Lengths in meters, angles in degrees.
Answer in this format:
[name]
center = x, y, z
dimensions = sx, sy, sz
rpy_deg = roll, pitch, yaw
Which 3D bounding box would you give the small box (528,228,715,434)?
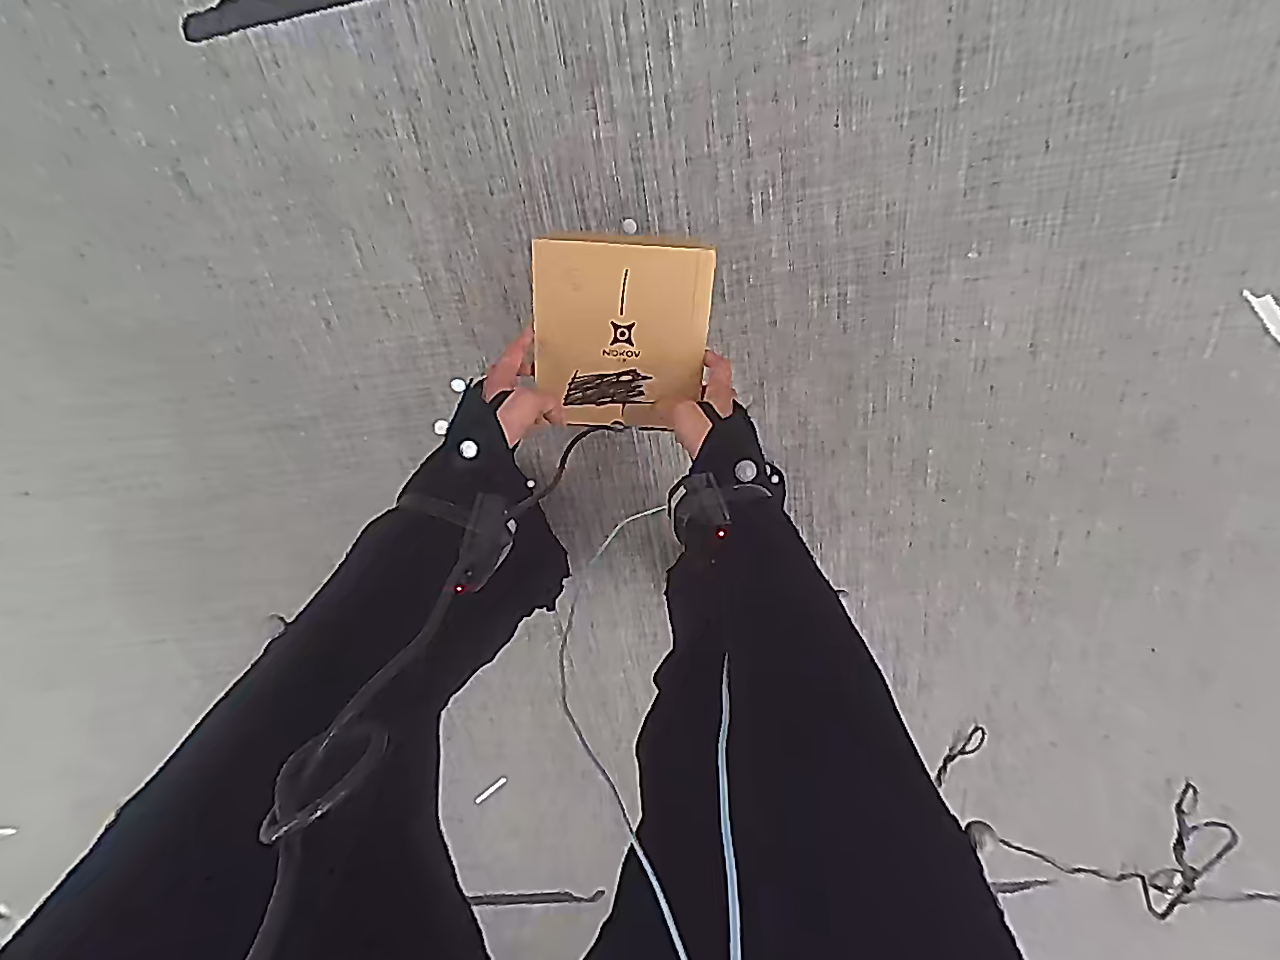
[small box]
center = -0.025, -0.164, 0.575
dimensions = 0.168, 0.176, 0.179
rpy_deg = 3, 116, -5
